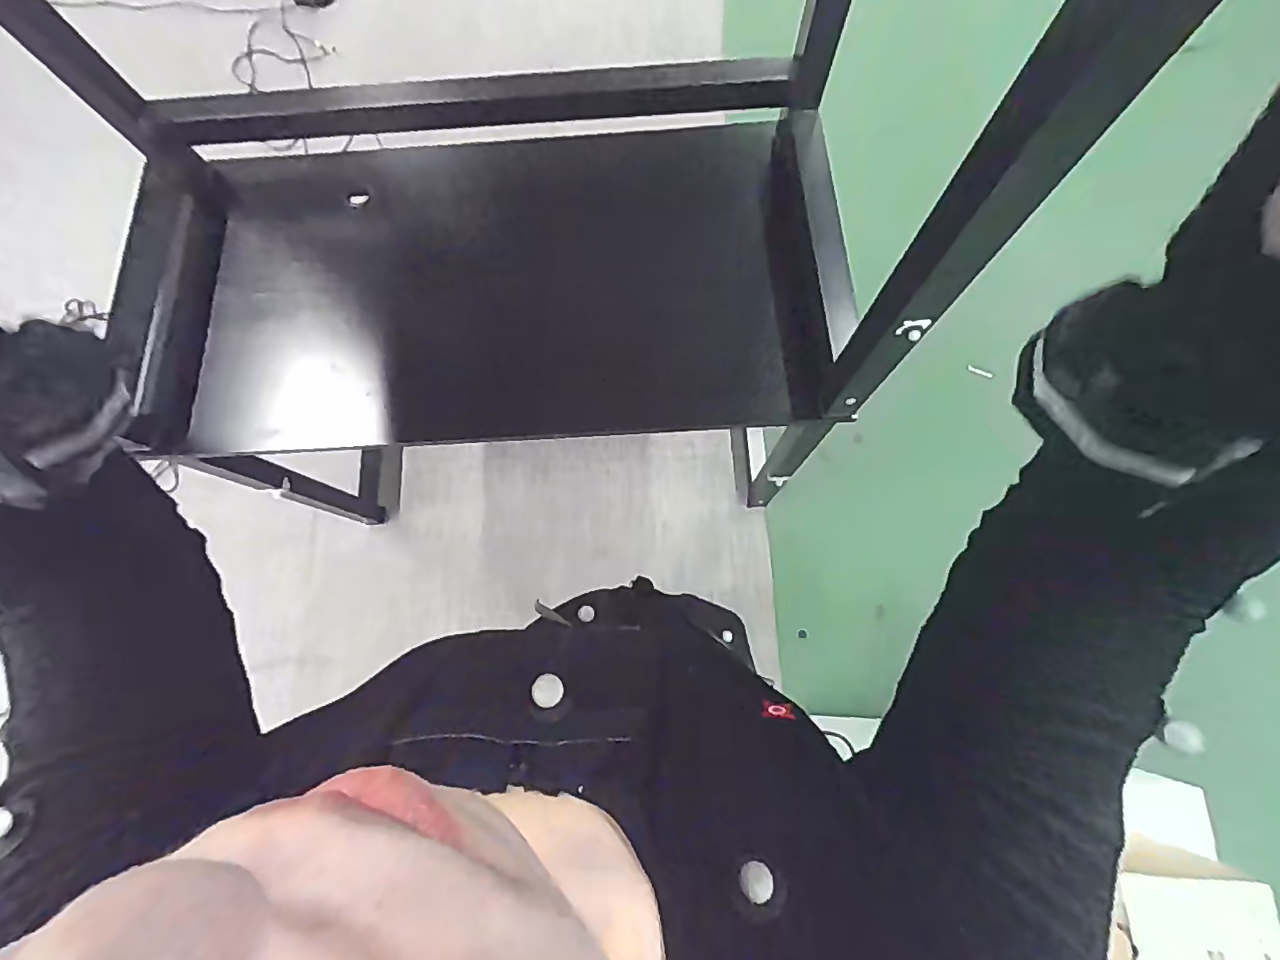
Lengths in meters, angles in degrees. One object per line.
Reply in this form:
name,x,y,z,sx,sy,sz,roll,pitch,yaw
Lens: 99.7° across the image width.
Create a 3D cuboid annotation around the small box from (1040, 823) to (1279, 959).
small box,0.665,0.575,0.711,0.179,0.176,0.168,2,76,4
